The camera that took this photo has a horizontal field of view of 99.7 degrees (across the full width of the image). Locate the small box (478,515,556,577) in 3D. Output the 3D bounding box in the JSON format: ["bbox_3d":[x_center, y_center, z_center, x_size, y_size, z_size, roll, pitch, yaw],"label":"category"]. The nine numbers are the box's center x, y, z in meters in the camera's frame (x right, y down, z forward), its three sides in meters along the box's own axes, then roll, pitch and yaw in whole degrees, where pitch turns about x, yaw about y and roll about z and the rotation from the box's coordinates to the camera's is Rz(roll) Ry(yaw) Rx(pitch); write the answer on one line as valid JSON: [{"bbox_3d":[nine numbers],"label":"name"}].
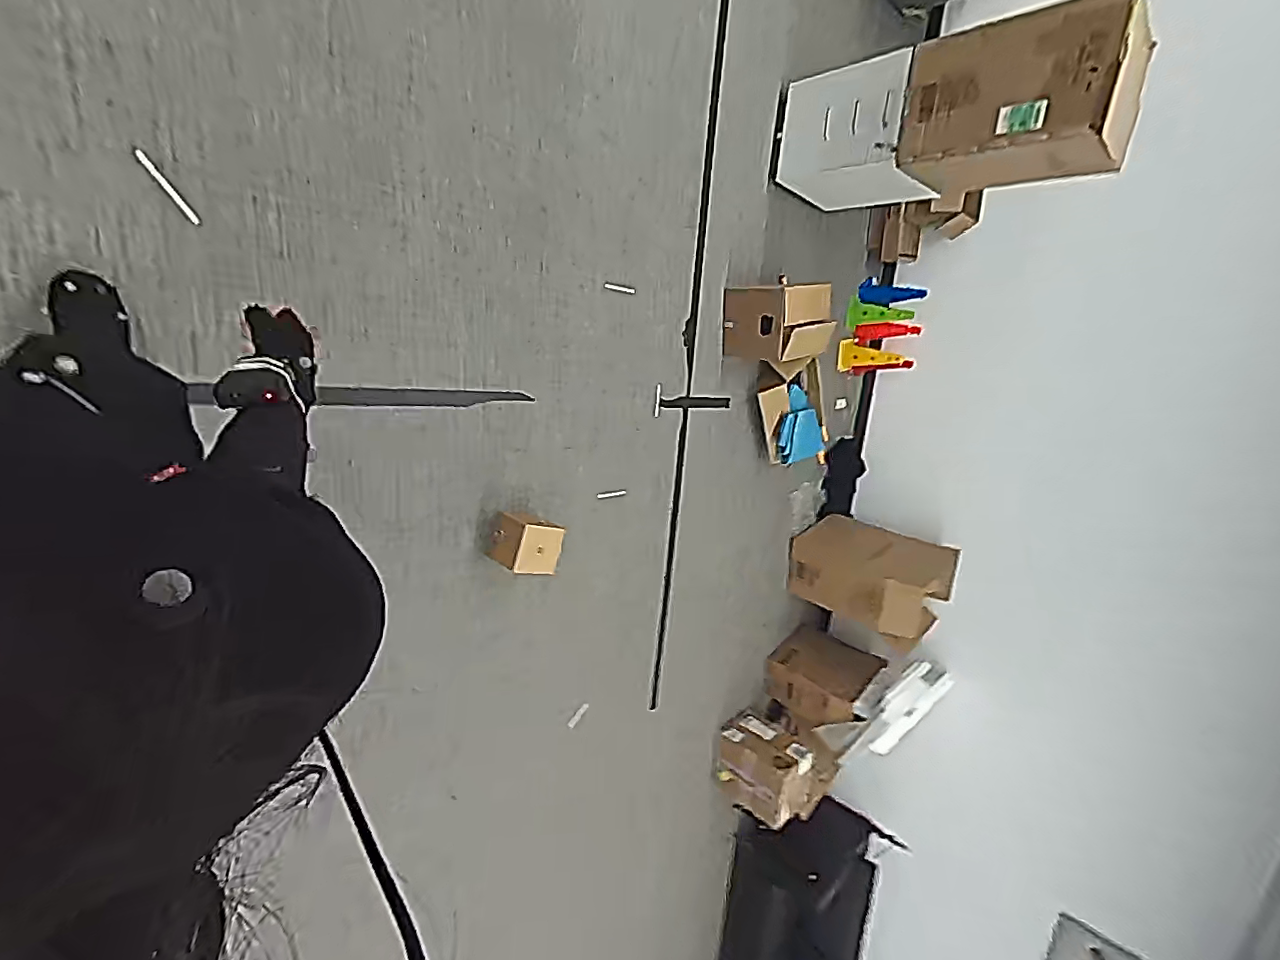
[{"bbox_3d":[-0.422,0.223,1.848,0.179,0.176,0.168,14,91,-48],"label":"small box"}]
